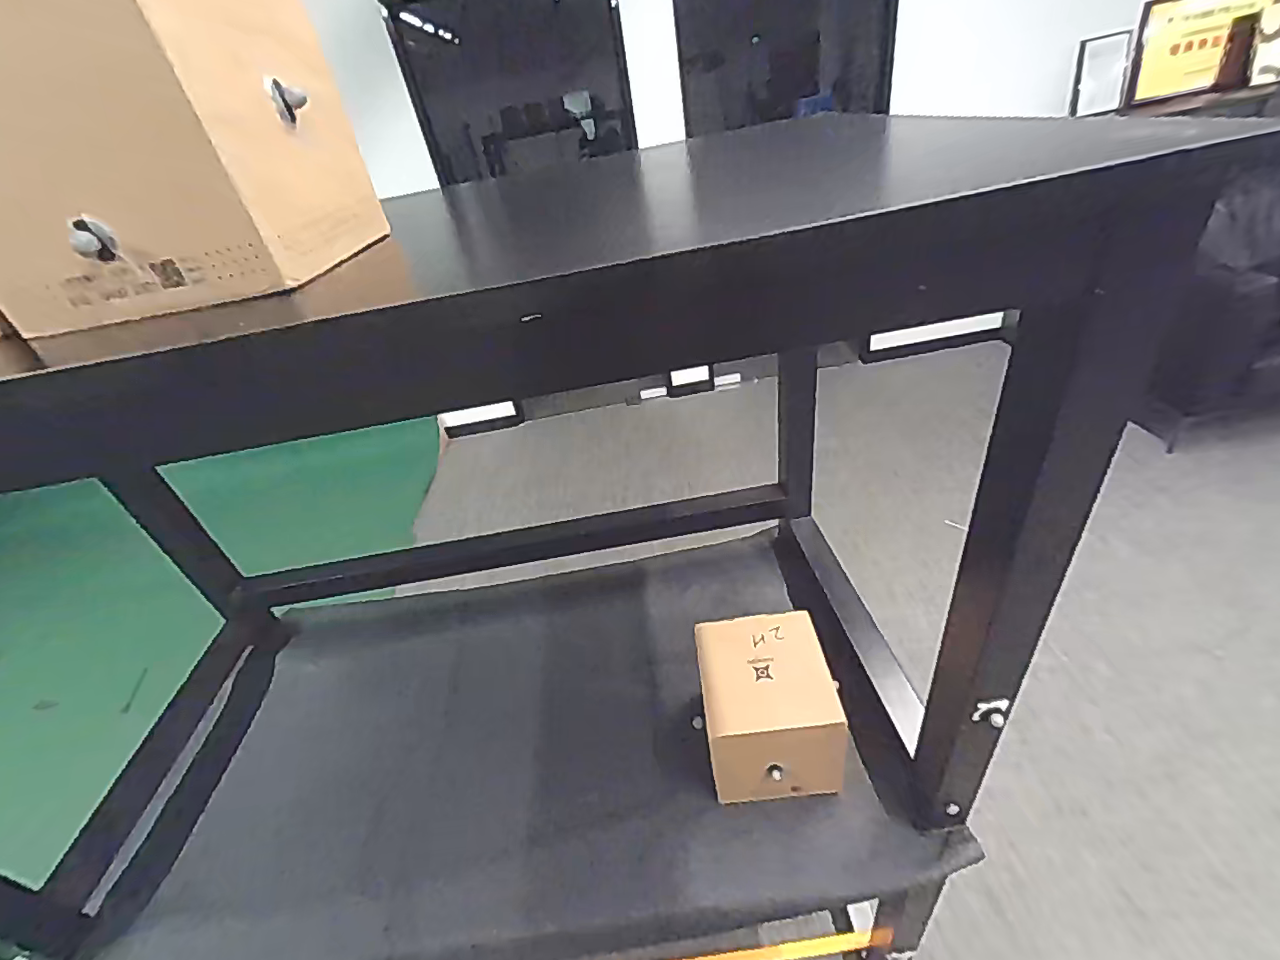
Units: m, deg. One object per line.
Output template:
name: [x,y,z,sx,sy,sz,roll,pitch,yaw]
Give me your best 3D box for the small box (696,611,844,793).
small box: [0.174,0.312,0.754,0.168,0.176,0.179,-8,34,4]
